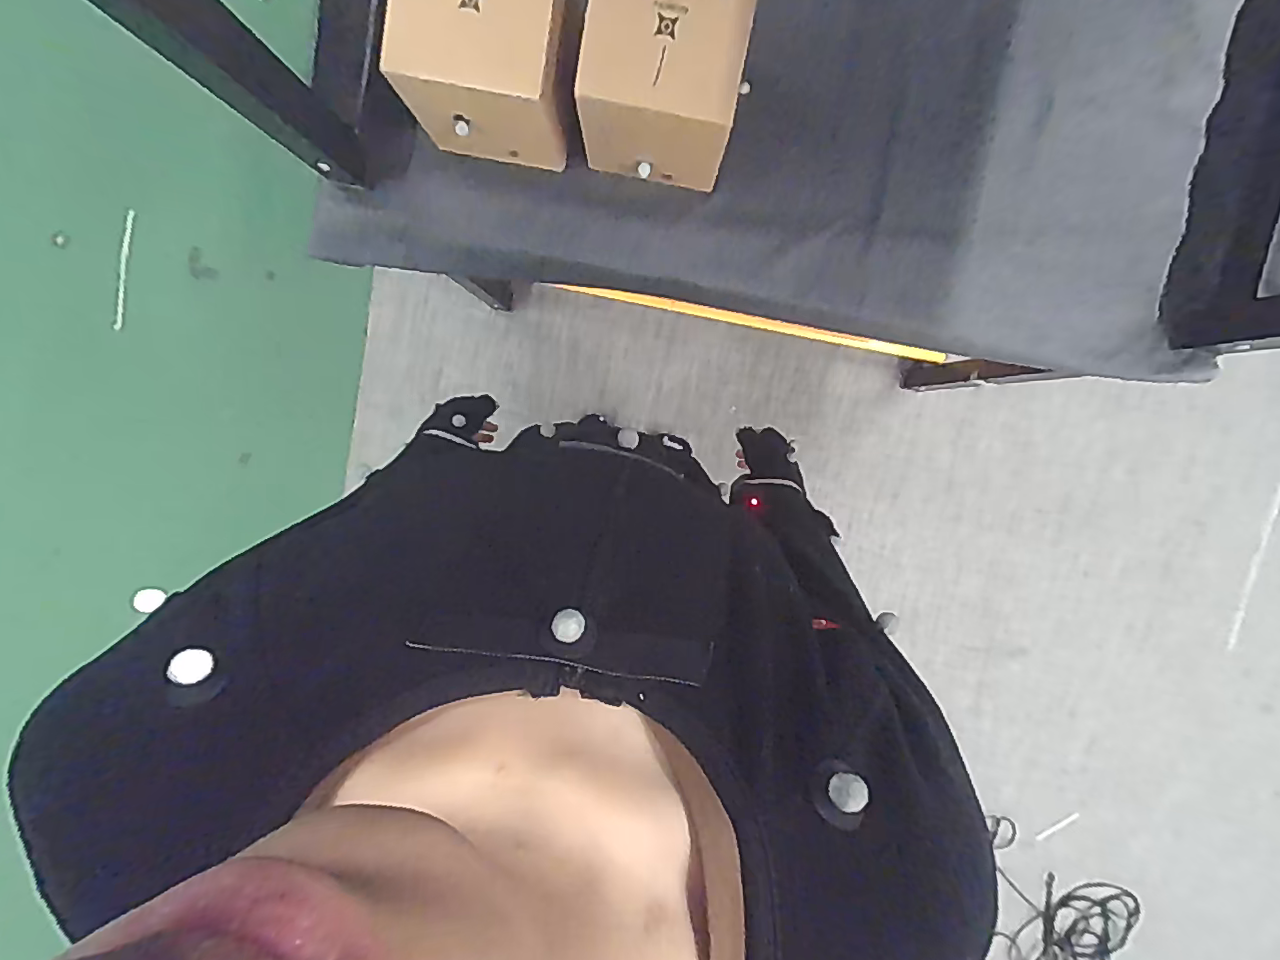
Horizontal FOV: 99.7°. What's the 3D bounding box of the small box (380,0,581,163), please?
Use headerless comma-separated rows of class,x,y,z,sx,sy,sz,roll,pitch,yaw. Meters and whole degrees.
small box,-0.165,-0.492,0.609,0.168,0.176,0.179,10,96,-1

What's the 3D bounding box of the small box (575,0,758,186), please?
small box,0.030,-0.469,0.610,0.168,0.176,0.179,11,97,0
